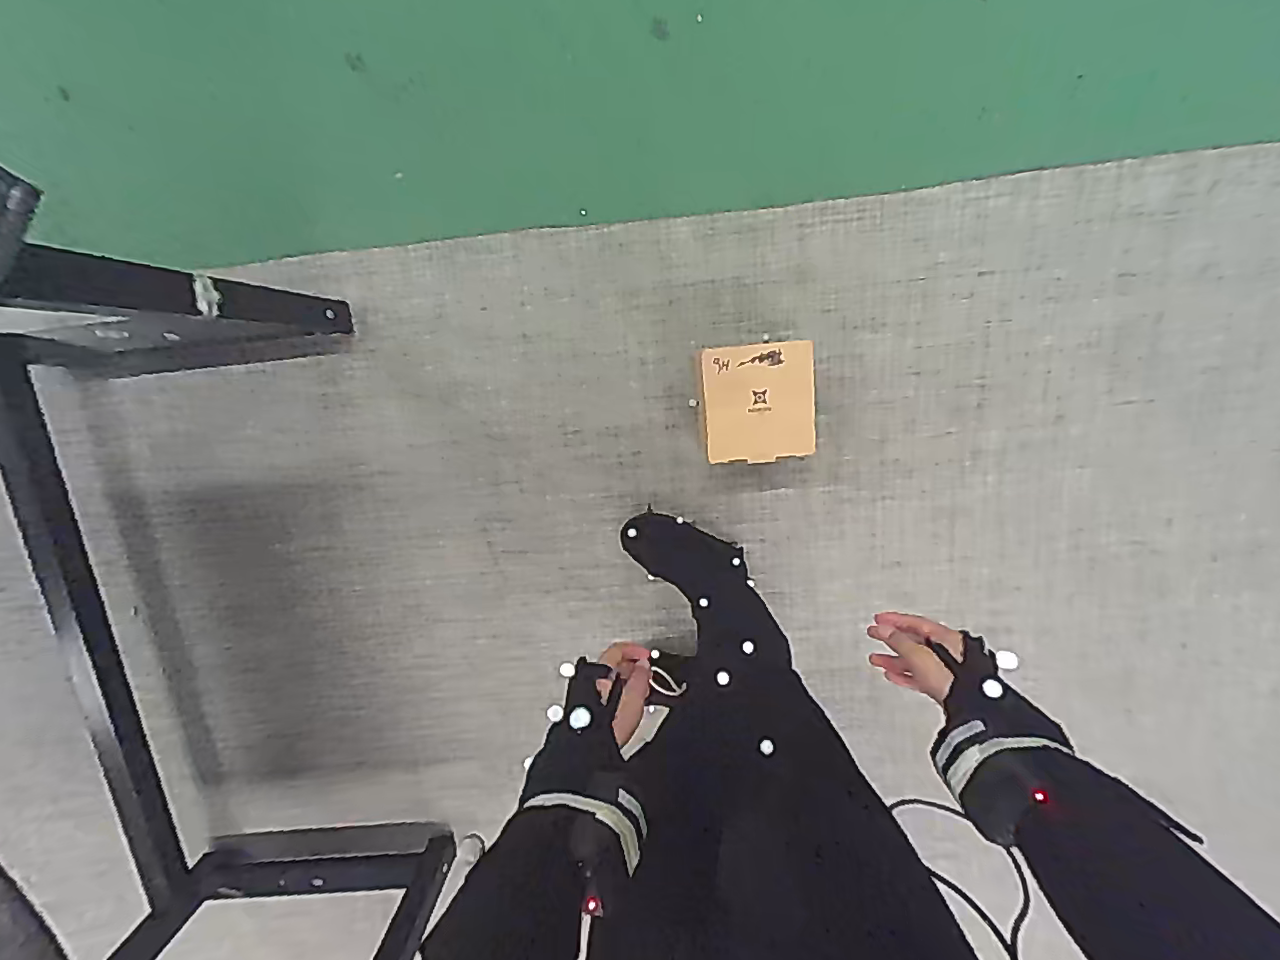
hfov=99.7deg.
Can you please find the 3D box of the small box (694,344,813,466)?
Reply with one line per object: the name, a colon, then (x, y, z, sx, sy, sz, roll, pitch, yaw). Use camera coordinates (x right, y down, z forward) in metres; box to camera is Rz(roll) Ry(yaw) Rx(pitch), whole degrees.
small box: (0.179, -0.129, 0.885, 0.168, 0.176, 0.179, -5, 103, 3)
